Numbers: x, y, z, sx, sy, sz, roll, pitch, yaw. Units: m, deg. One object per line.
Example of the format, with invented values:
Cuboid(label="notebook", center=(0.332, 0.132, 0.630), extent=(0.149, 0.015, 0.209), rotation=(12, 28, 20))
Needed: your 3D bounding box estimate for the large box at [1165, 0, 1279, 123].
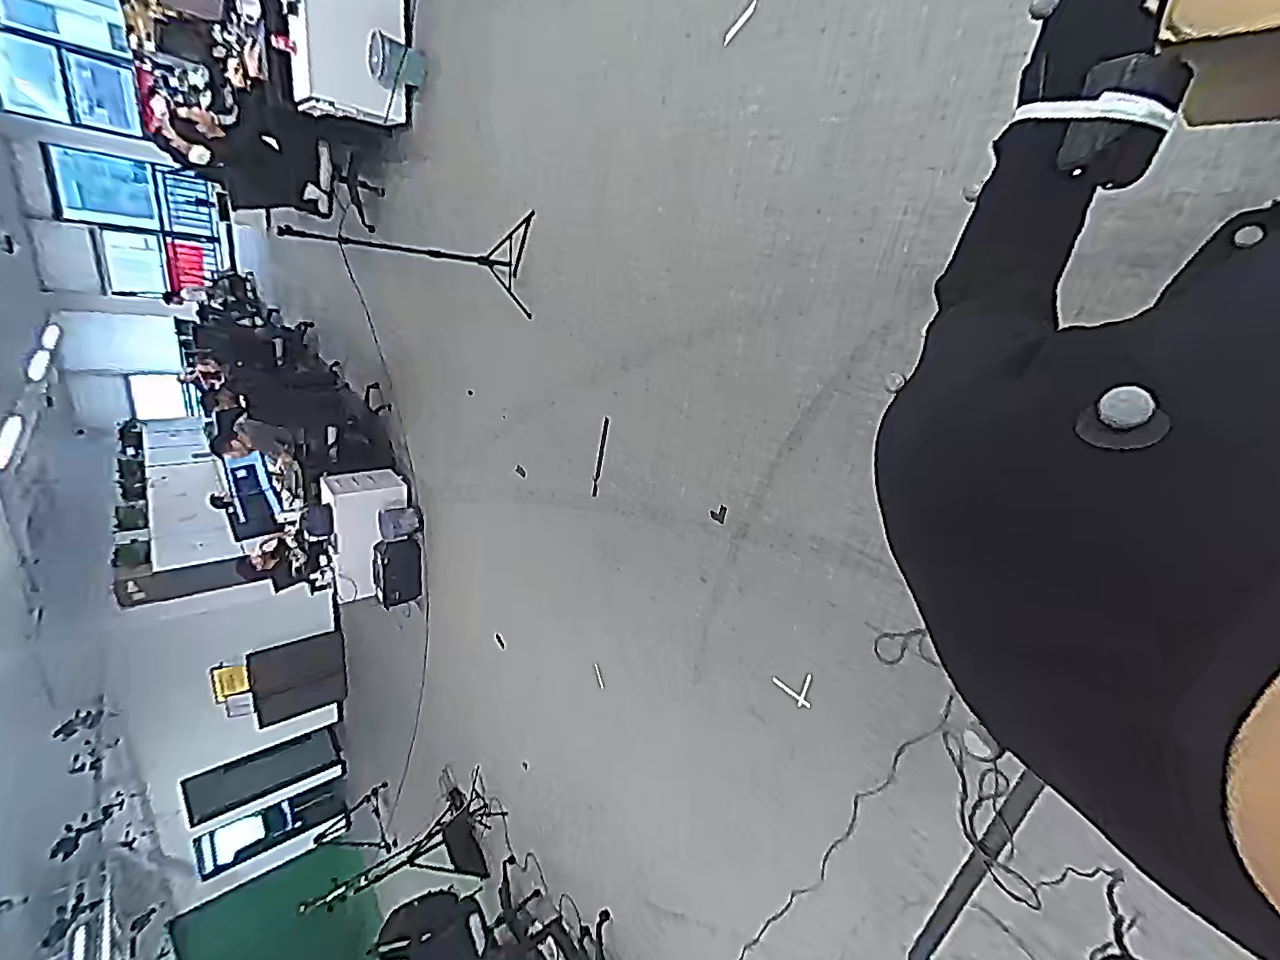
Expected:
Cuboid(label="large box", center=(0.584, -0.403, 0.262), extent=(0.408, 0.320, 0.320), rotation=(23, 122, 40))
